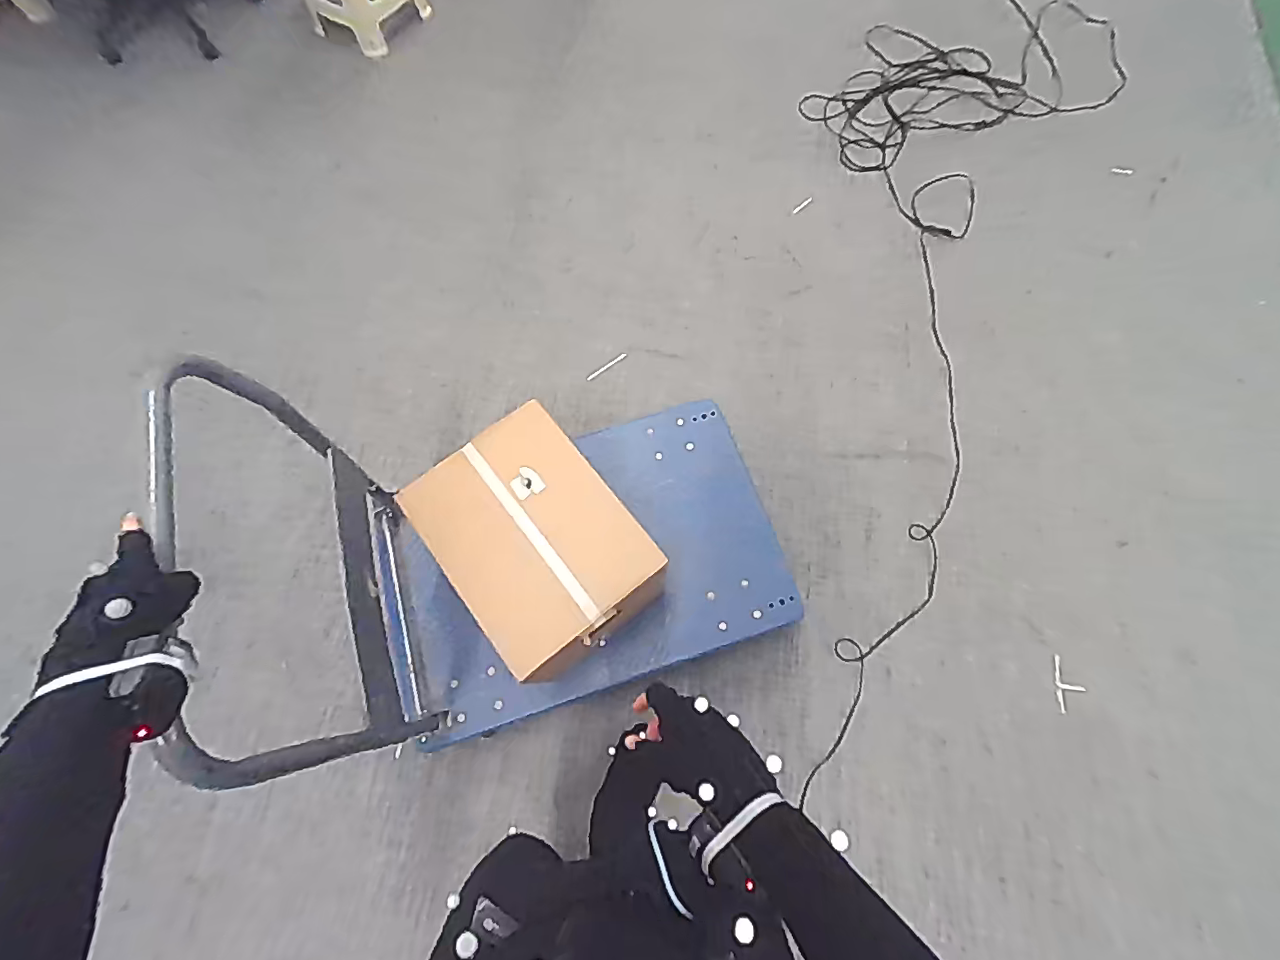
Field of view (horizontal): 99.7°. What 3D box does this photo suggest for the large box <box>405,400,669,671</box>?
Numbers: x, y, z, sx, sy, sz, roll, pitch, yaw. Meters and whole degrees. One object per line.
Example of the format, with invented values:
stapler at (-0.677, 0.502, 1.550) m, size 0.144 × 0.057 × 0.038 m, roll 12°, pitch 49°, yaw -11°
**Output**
large box at (-0.181, 0.126, 1.095) m, size 0.320 × 0.320 × 0.408 m, roll -37°, pitch 73°, yaw -11°
